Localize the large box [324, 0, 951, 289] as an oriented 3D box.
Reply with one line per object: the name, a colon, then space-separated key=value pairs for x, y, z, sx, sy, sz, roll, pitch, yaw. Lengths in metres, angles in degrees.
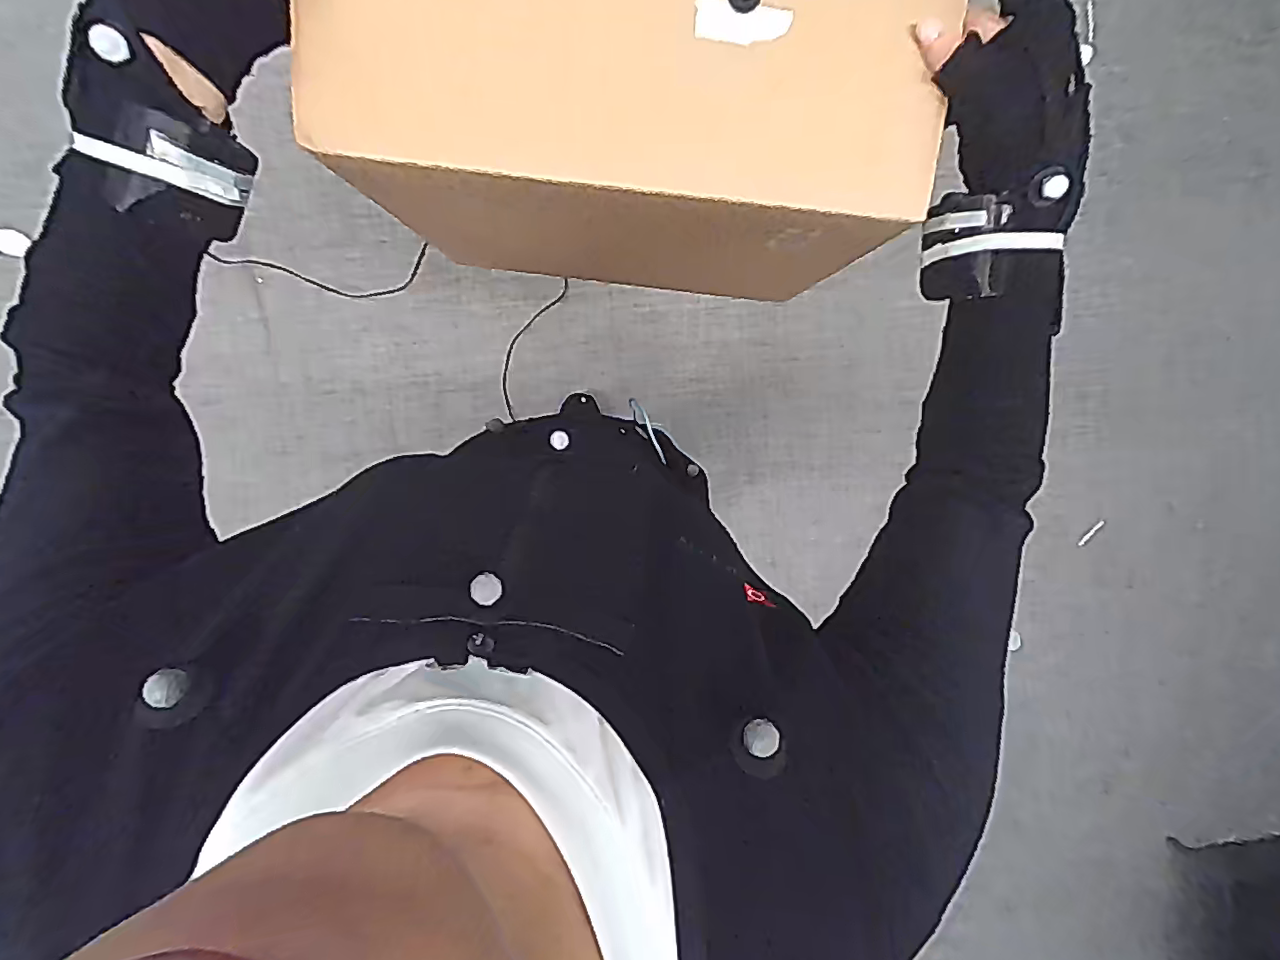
large box: x=0.001 y=-0.372 z=0.482 sx=0.408 sy=0.320 sz=0.320 roll=5 pitch=100 yaw=-2
